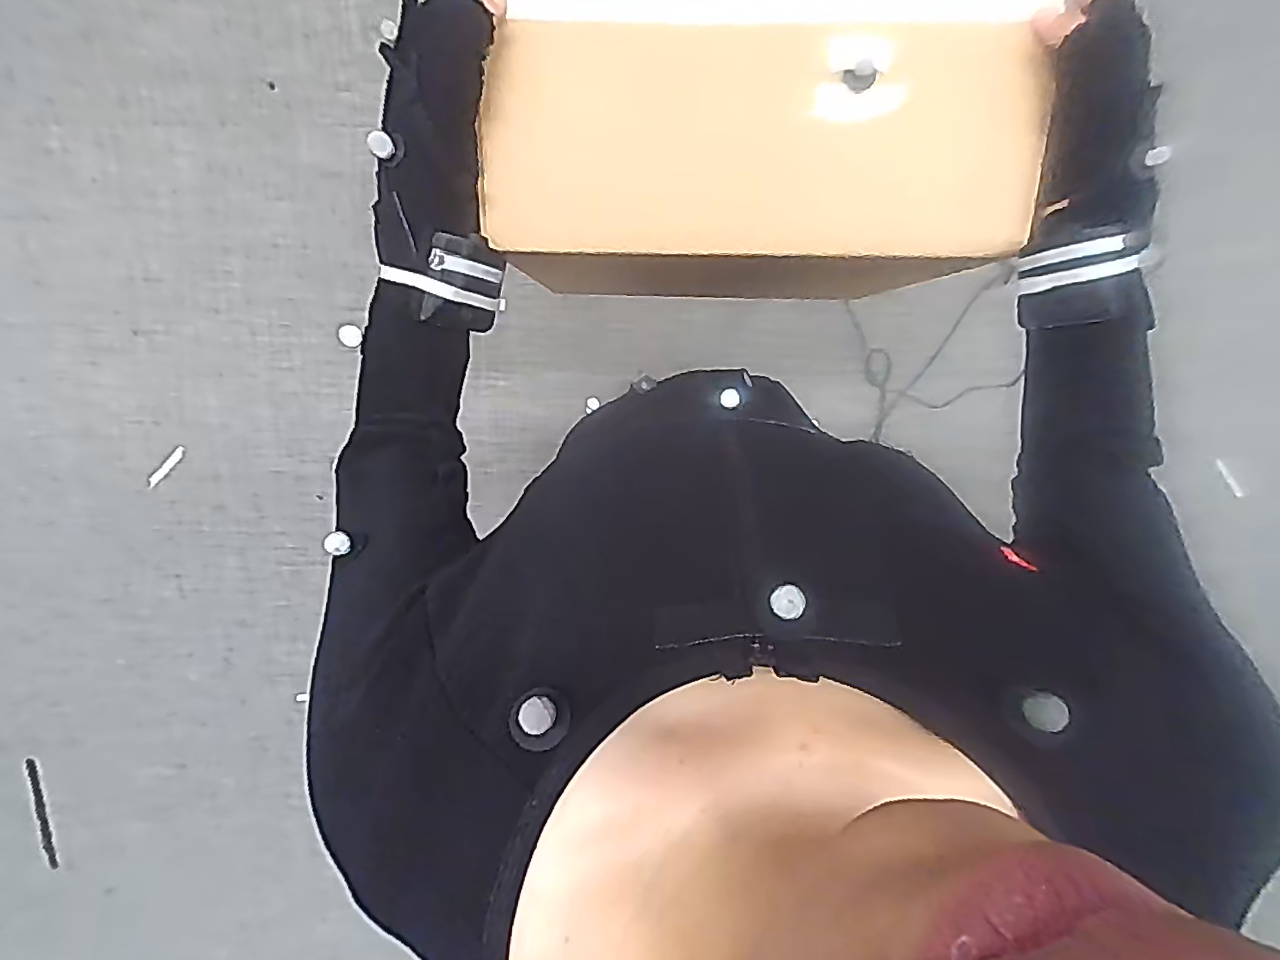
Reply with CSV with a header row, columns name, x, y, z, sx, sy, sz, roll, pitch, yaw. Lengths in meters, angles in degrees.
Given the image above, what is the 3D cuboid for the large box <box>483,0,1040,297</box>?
name,x,y,z,sx,sy,sz,roll,pitch,yaw
large box,0.083,-0.361,0.531,0.408,0.320,0.320,1,103,0
